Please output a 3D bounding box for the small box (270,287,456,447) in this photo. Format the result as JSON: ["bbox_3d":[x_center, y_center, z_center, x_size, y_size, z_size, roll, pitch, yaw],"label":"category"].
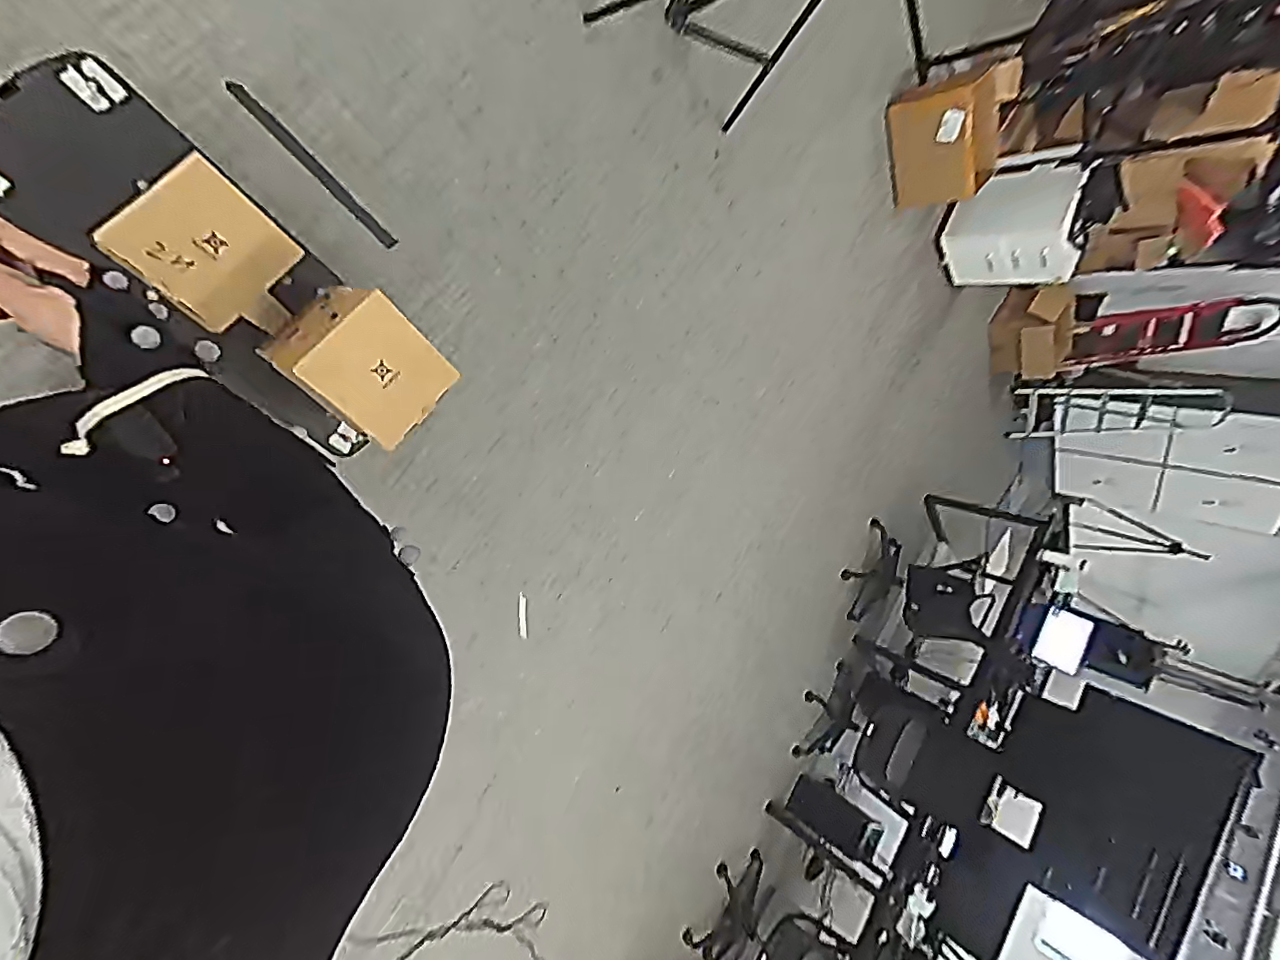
[{"bbox_3d":[-0.436,-0.178,0.849,0.168,0.176,0.179,-53,133,-17],"label":"small box"}]

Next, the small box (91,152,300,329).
[{"bbox_3d":[-0.661,-0.350,0.810,0.179,0.176,0.168,-54,132,-16],"label":"small box"}]

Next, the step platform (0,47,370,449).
[{"bbox_3d":[-0.727,-0.355,0.992,0.286,0.204,0.684,-56,132,-15],"label":"step platform"}]
